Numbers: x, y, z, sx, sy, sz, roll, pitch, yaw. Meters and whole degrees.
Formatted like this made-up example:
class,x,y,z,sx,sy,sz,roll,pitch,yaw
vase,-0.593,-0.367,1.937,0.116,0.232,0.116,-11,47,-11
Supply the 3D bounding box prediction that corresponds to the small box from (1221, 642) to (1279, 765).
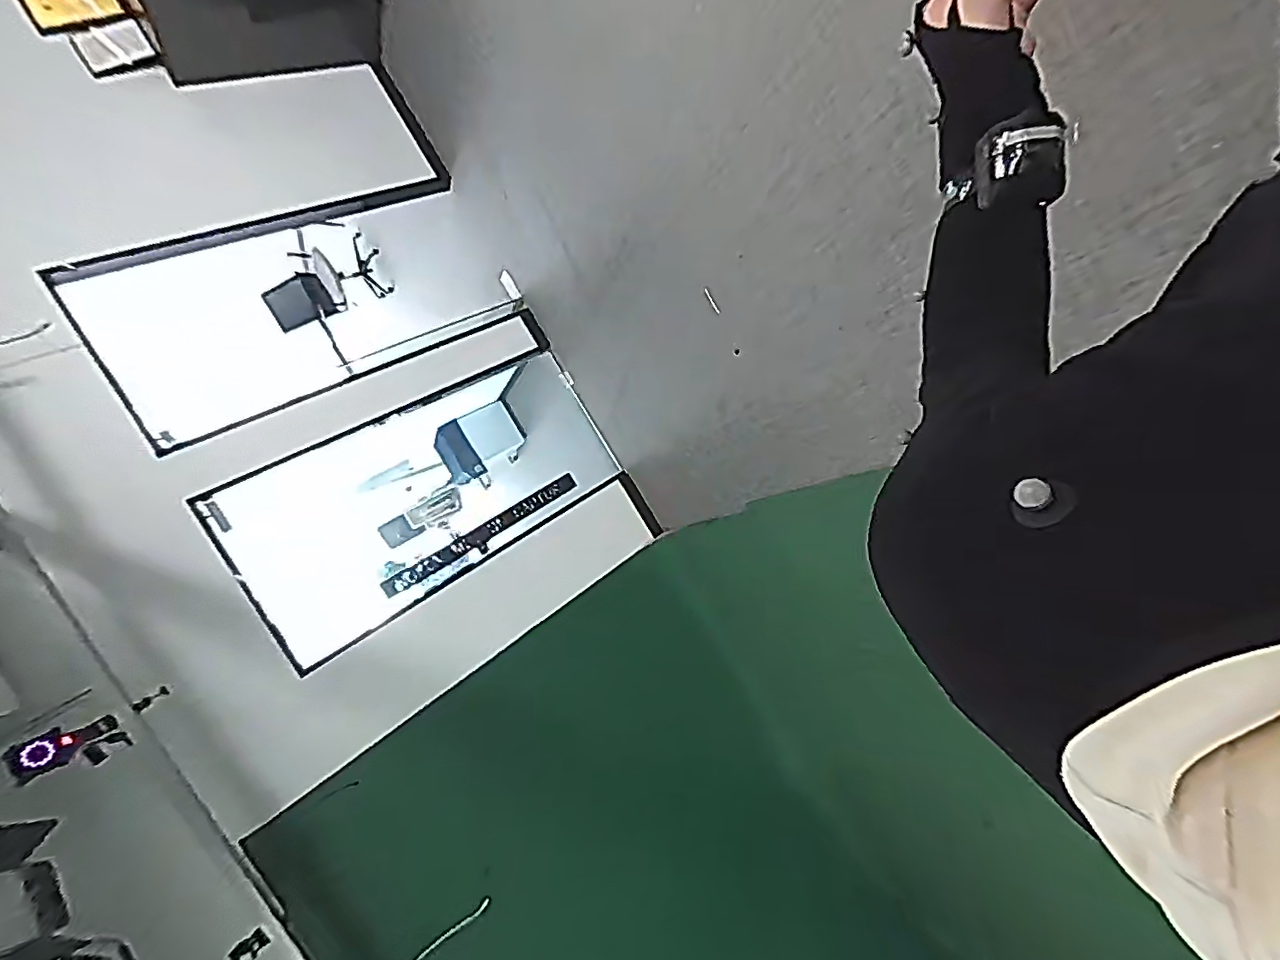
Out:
class,x,y,z,sx,sy,sz,roll,pitch,yaw
small box,1.257,0.415,1.002,0.168,0.176,0.179,56,152,2
